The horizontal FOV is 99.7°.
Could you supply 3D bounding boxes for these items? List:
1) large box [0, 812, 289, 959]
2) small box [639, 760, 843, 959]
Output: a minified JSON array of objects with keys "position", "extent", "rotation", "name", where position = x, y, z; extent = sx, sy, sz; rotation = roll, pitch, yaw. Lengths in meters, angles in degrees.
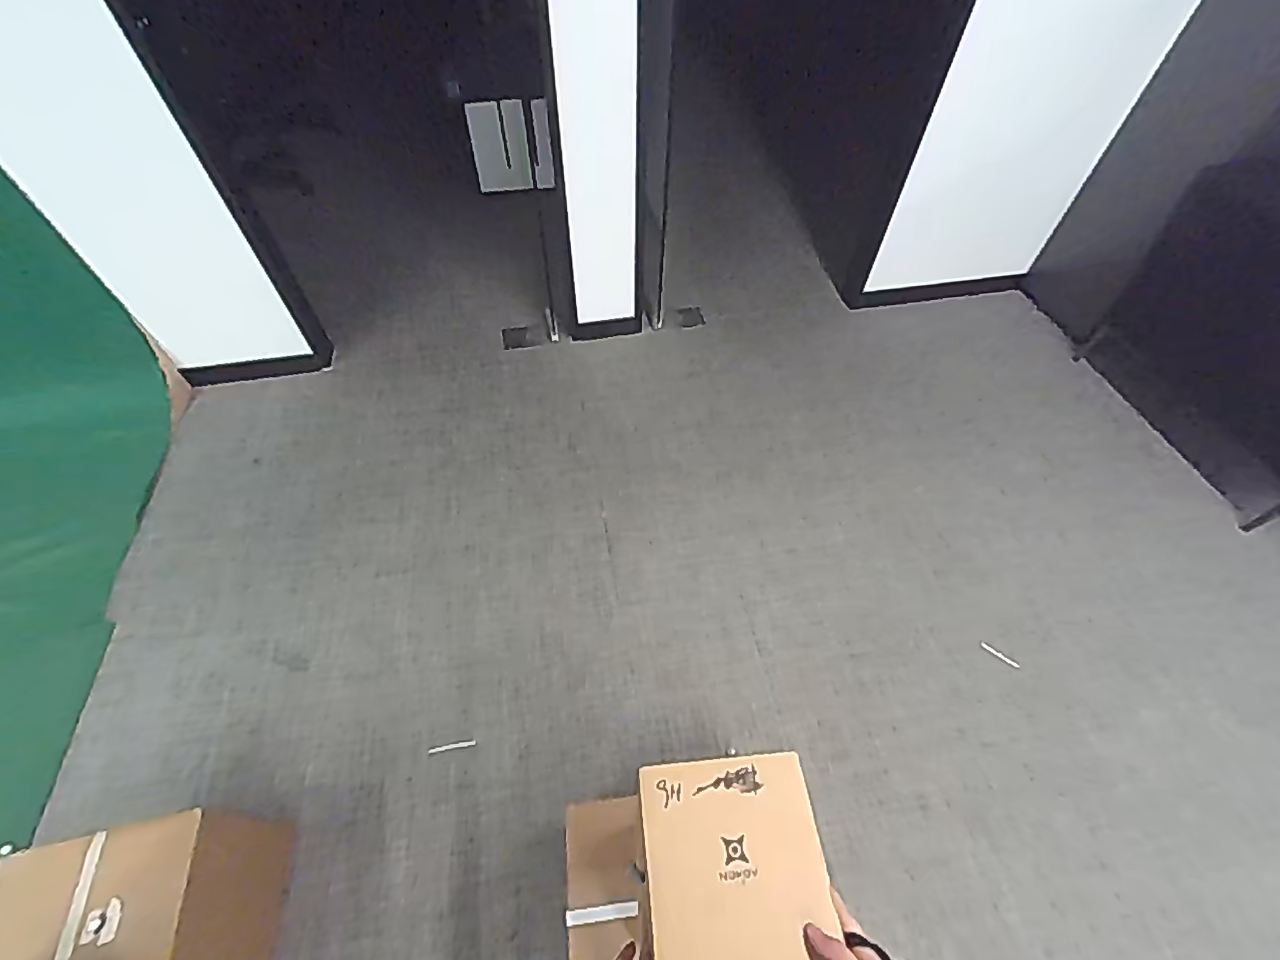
[{"position":[-0.862,0.850,0.923],"extent":[0.320,0.320,0.408],"rotation":[-9,52,-8],"name":"large box"},{"position":[0.087,0.405,0.559],"extent":[0.168,0.176,0.179],"rotation":[-3,53,-3],"name":"small box"}]
